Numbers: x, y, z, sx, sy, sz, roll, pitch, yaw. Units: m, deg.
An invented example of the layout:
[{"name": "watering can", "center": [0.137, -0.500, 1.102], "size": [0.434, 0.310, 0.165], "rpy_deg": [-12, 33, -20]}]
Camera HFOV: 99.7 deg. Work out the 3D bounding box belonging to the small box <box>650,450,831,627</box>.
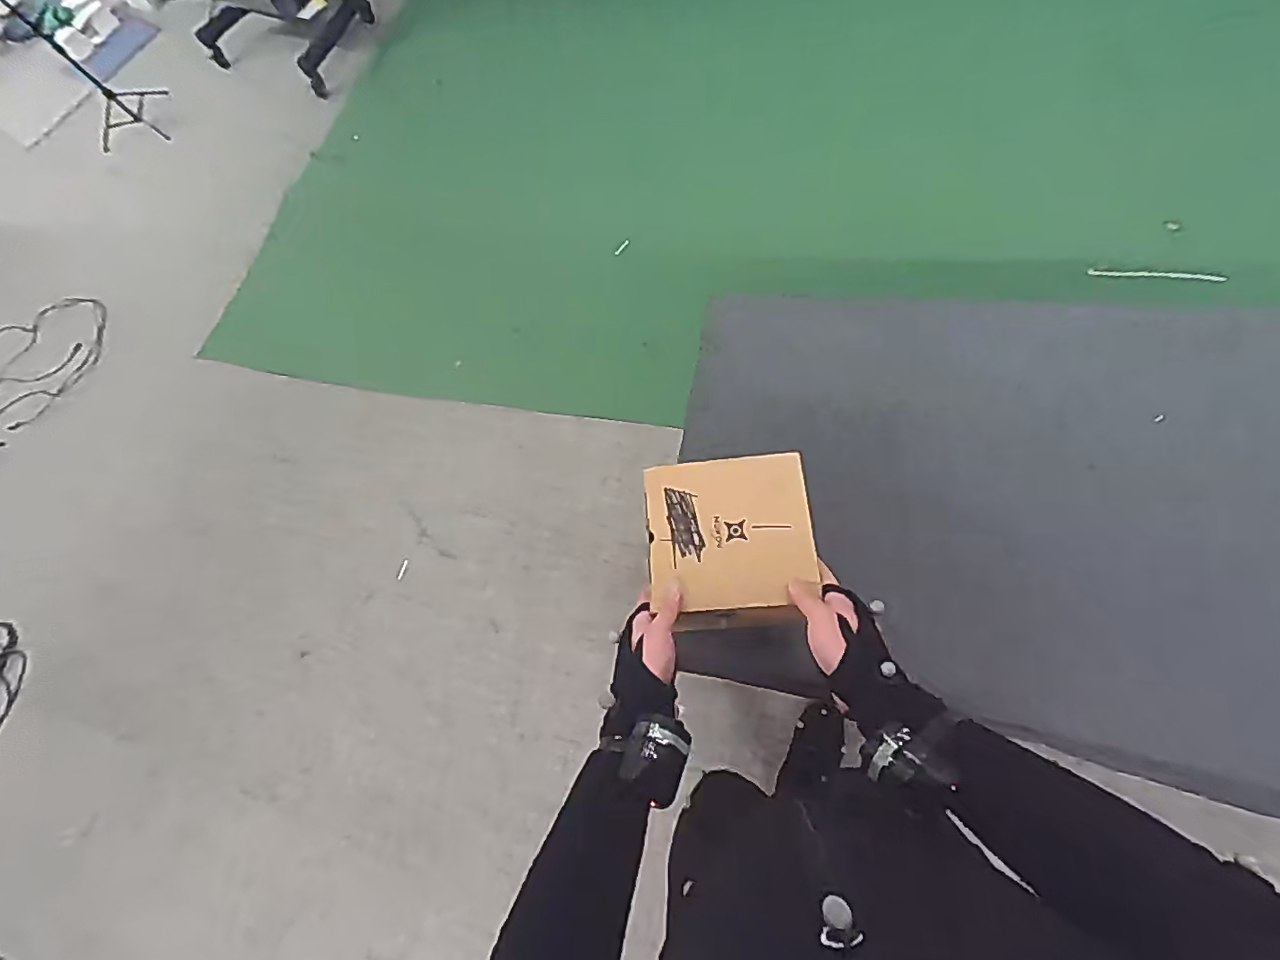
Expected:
[{"name": "small box", "center": [0.111, 0.079, 0.638], "size": [0.179, 0.176, 0.168], "rpy_deg": [-5, 69, 6]}]
